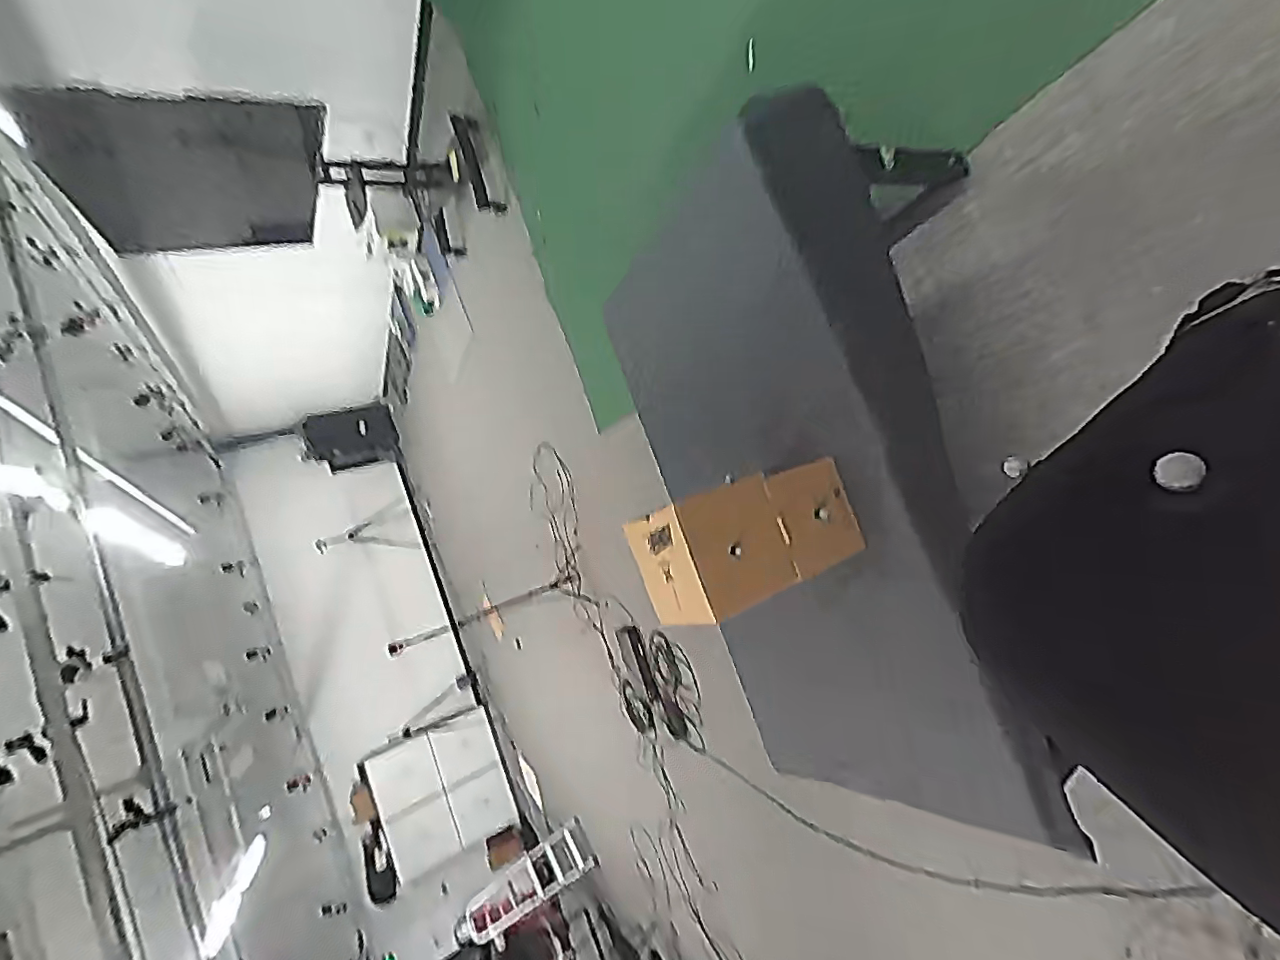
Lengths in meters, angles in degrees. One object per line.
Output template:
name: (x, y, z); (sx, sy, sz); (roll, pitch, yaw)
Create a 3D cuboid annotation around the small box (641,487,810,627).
small box: (0.133, 0.120, 0.862); (0.168, 0.176, 0.179); (-31, 78, 61)
